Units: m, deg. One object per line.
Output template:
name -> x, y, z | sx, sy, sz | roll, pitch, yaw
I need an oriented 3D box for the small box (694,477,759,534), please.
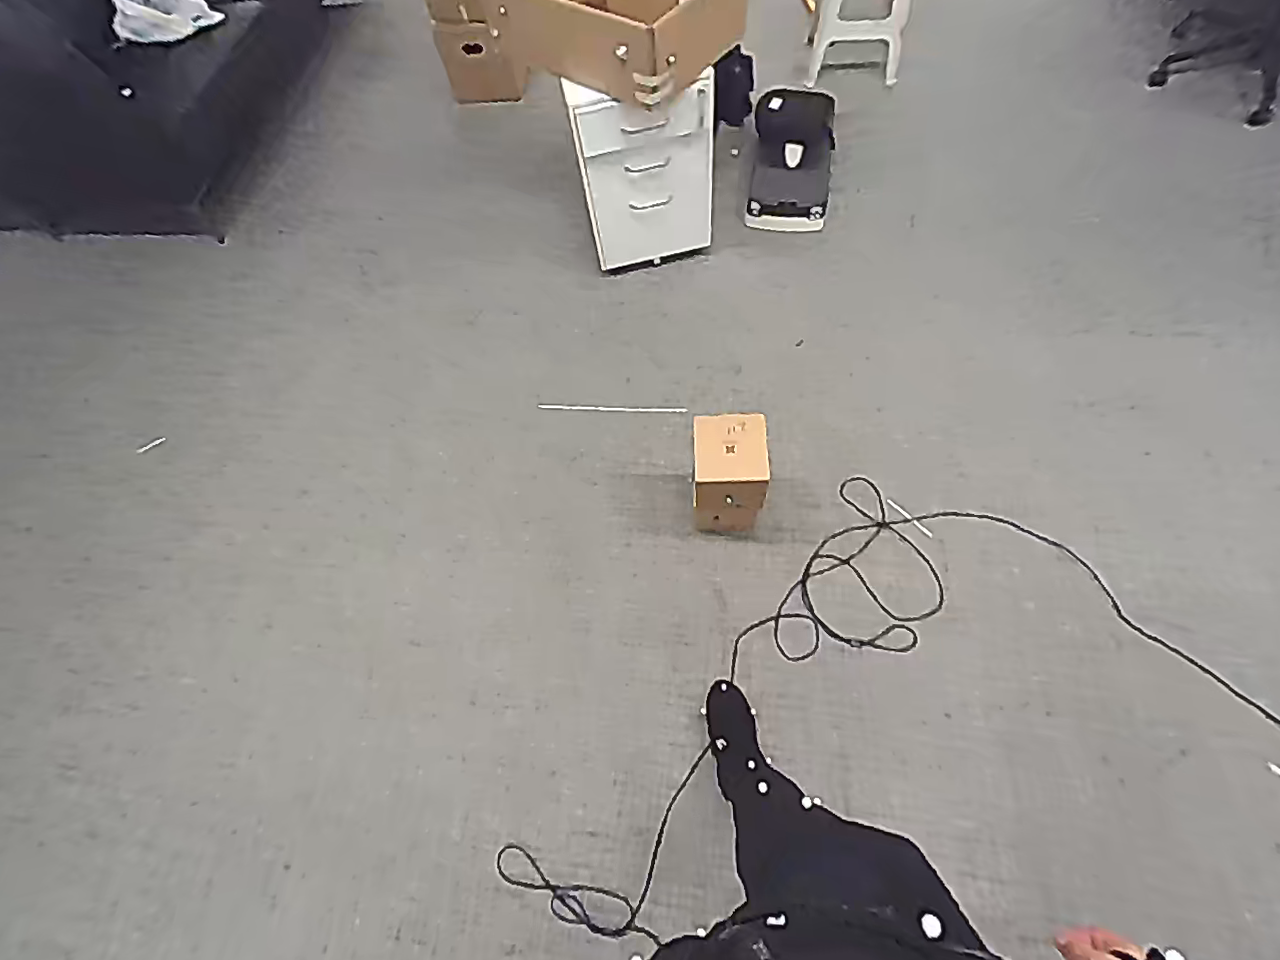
small box -> 0.232, 0.038, 1.456 | 0.168, 0.176, 0.179 | 0, 63, 7

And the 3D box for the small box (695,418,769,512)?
small box -> 0.217, -0.029, 1.305 | 0.168, 0.176, 0.179 | -1, 63, 6
